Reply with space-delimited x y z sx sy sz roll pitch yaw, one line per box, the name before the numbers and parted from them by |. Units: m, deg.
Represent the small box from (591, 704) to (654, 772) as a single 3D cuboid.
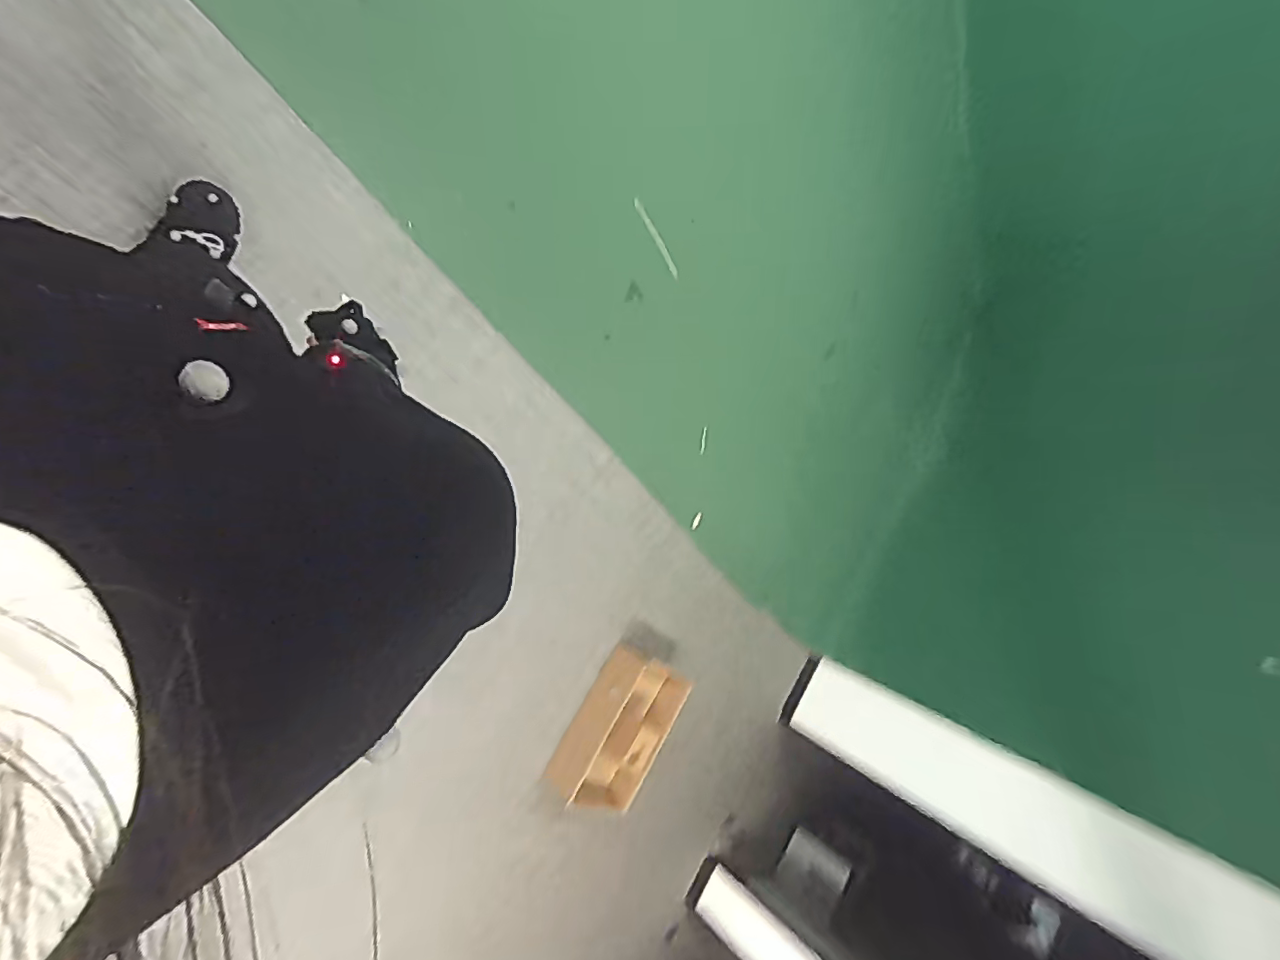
small box | -0.080 1.078 2.263 0.179 0.176 0.168 -57 136 -18
